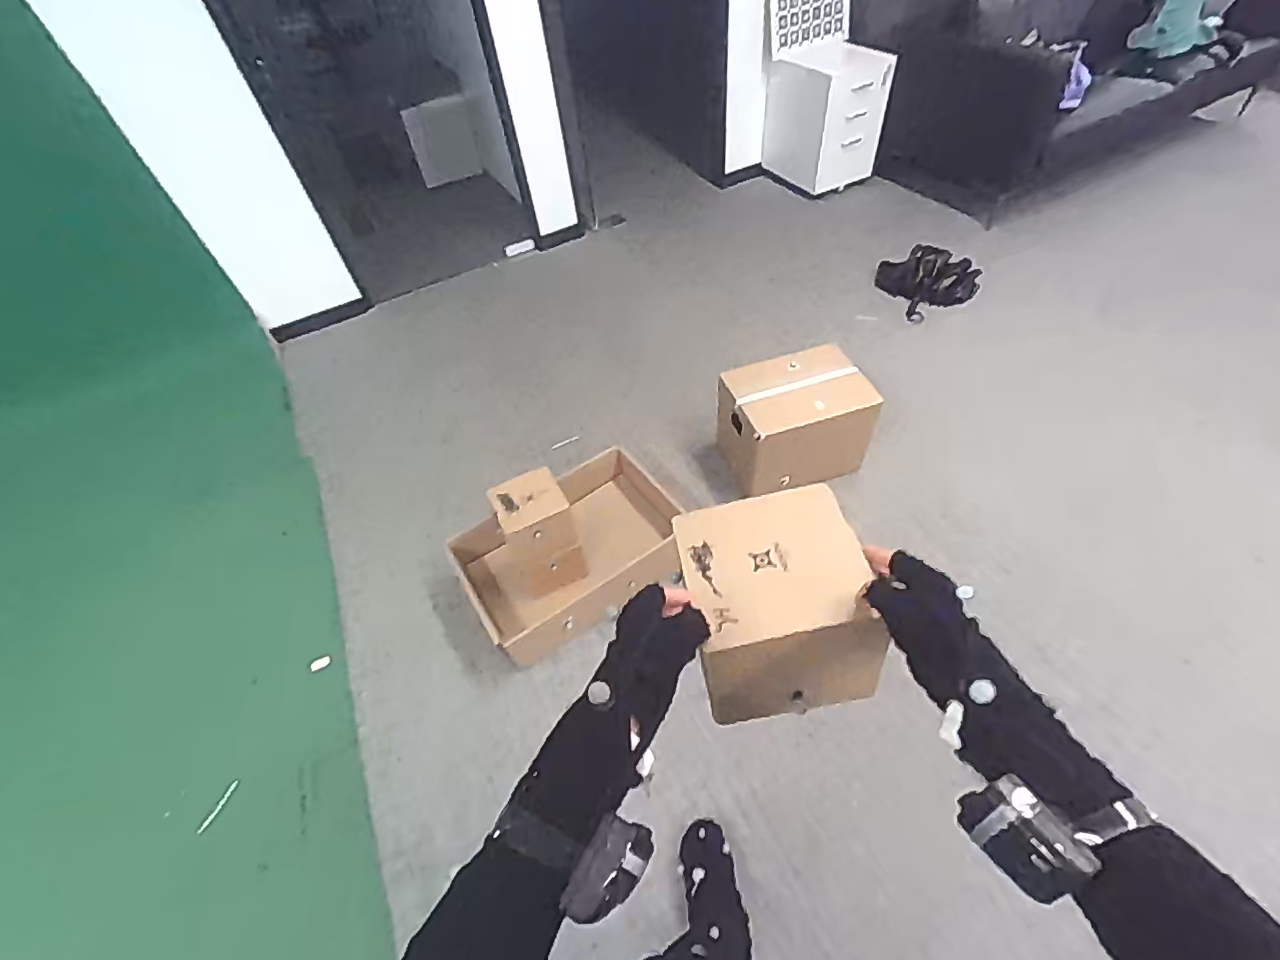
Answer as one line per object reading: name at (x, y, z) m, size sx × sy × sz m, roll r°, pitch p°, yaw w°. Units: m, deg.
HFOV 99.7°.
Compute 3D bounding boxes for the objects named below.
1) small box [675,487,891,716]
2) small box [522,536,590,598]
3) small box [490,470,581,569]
small box at (0.145, 0.136, 0.597) m, size 0.179 × 0.176 × 0.168 m, roll -13°, pitch 43°, yaw 2°
small box at (-0.262, 0.215, 1.575) m, size 0.179 × 0.176 × 0.168 m, roll -23°, pitch 52°, yaw -16°
small box at (-0.277, 0.109, 1.451) m, size 0.179 × 0.176 × 0.168 m, roll -24°, pitch 52°, yaw -16°
